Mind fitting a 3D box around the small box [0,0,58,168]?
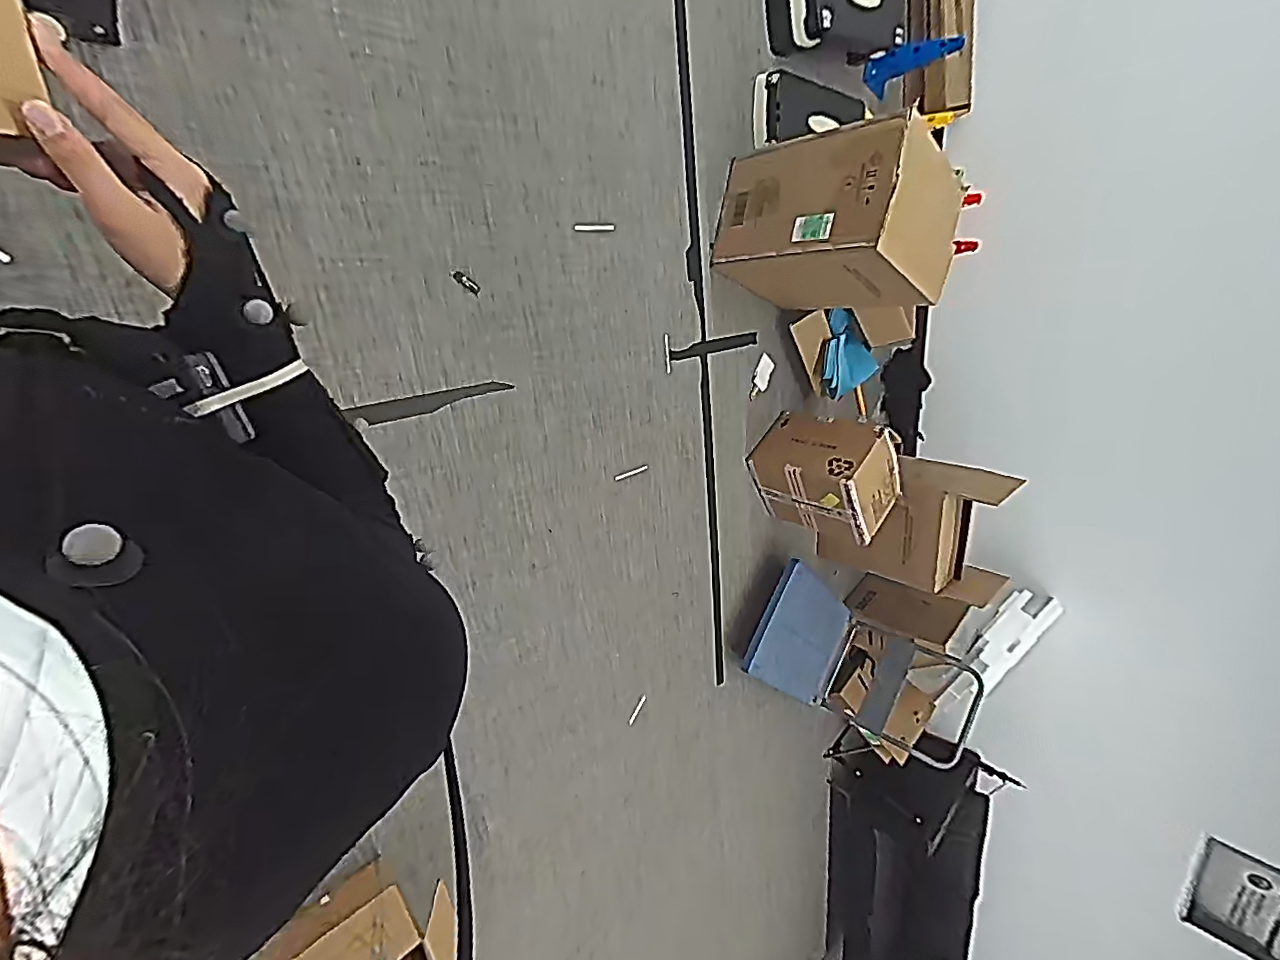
[{"bbox_3d":[-0.419,-0.256,0.253,0.179,0.176,0.168,-18,119,-43],"label":"small box"}]
